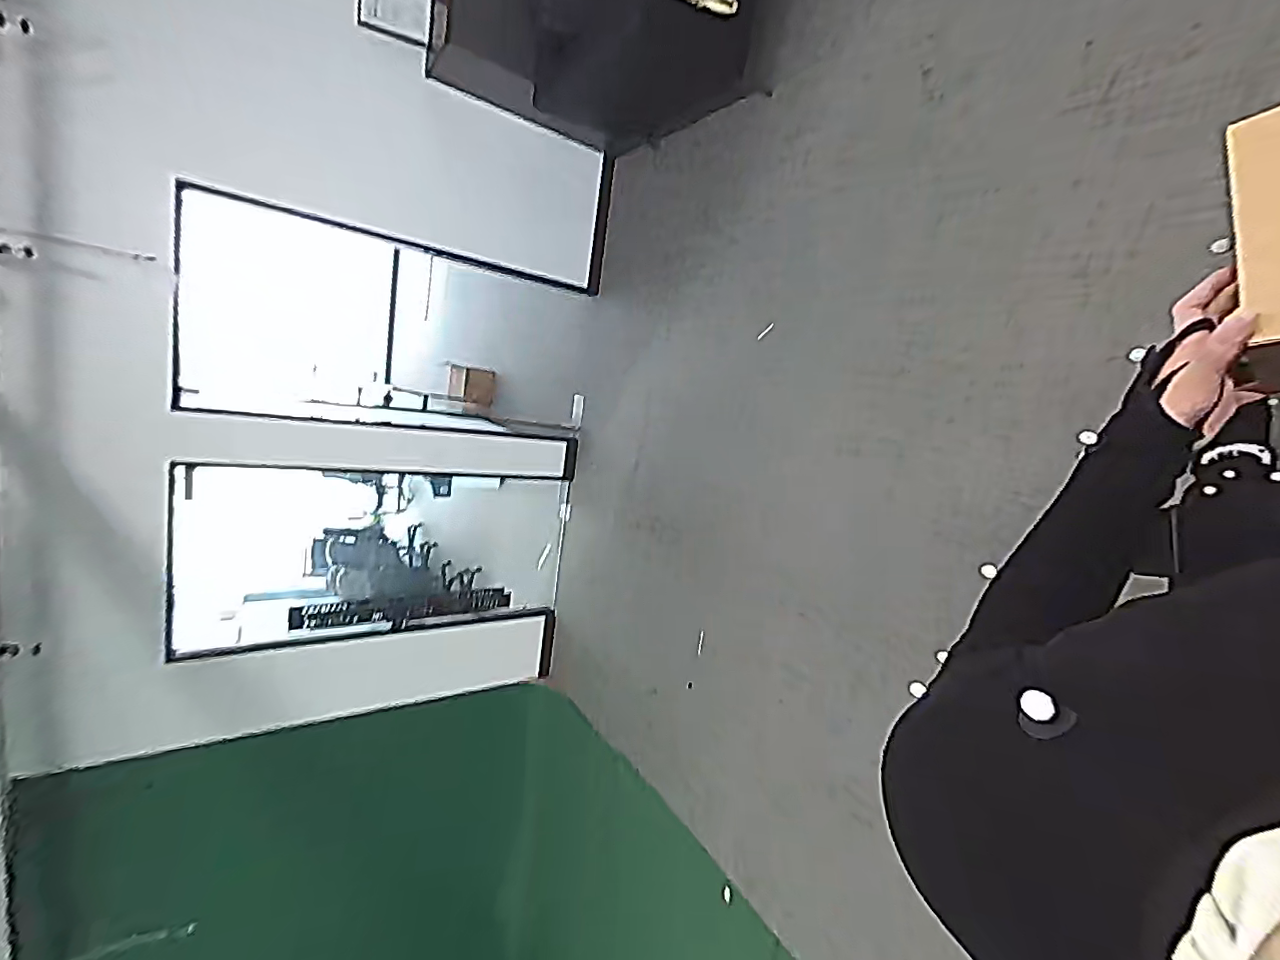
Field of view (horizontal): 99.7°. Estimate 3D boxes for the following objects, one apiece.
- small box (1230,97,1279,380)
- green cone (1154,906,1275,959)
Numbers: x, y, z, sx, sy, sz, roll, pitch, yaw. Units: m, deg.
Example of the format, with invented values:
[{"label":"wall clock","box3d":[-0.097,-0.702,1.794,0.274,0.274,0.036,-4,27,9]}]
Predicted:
[{"label":"small box","box3d":[0.560,-0.188,0.396,0.168,0.176,0.179,-3,81,52]},{"label":"green cone","box3d":[1.086,1.039,1.026,0.202,0.368,0.200,20,105,52]}]
